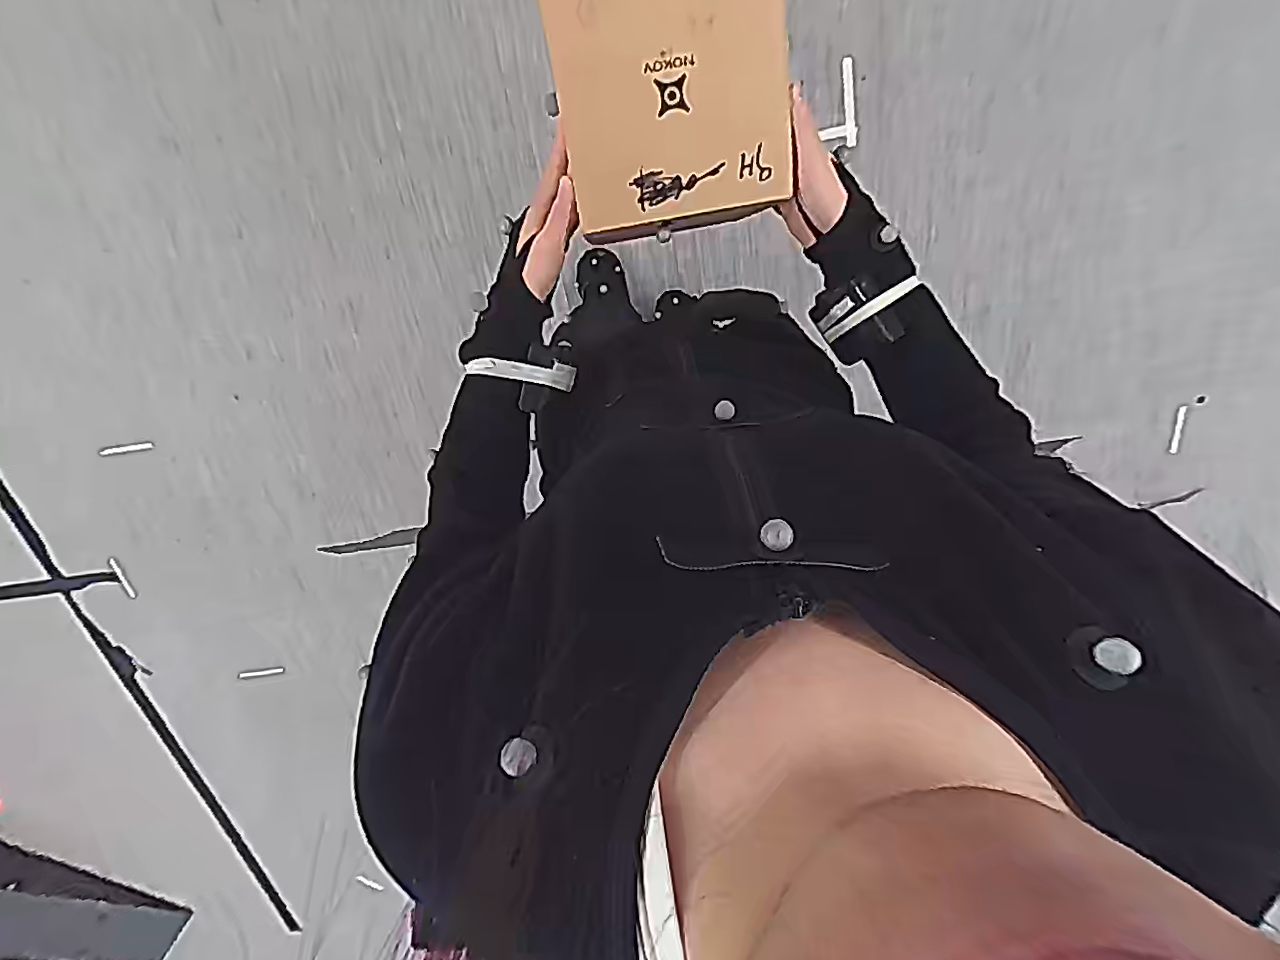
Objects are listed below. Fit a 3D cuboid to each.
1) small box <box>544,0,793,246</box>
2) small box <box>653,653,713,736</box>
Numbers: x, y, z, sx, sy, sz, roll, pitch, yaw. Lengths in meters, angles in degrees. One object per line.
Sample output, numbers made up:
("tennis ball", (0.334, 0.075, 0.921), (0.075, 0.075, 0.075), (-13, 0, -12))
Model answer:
("small box", (0.018, -0.307, 0.454), (0.168, 0.176, 0.179), (-10, 111, 1))
("small box", (0.137, 0.690, 1.744), (0.168, 0.176, 0.179), (-10, 111, 3))
